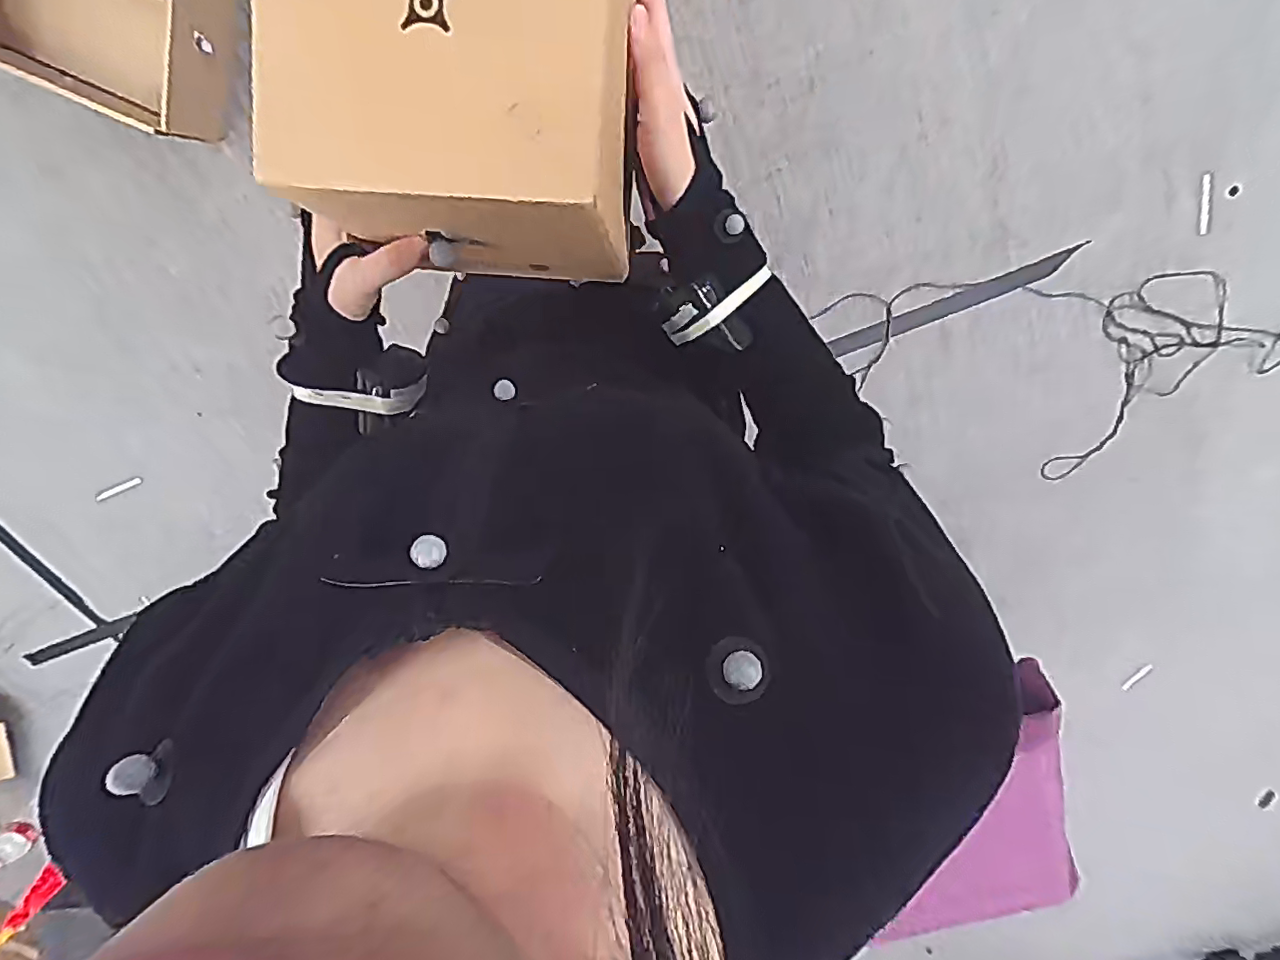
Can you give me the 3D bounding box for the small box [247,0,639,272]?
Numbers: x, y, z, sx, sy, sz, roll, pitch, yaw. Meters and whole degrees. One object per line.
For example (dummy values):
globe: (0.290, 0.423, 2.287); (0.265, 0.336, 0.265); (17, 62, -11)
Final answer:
small box: (-0.090, -0.233, 0.320); (0.168, 0.176, 0.179); (4, 97, 3)
